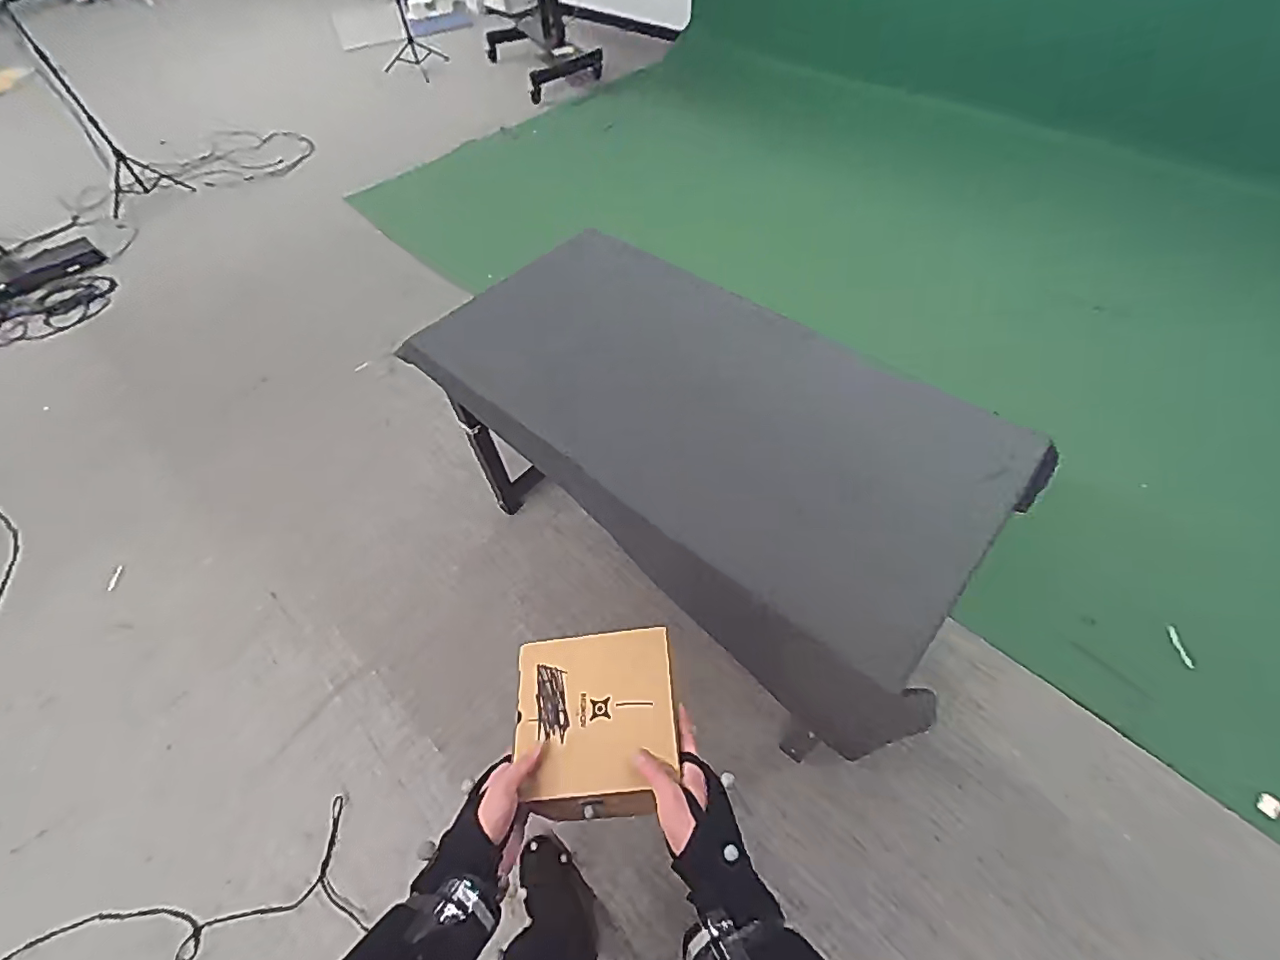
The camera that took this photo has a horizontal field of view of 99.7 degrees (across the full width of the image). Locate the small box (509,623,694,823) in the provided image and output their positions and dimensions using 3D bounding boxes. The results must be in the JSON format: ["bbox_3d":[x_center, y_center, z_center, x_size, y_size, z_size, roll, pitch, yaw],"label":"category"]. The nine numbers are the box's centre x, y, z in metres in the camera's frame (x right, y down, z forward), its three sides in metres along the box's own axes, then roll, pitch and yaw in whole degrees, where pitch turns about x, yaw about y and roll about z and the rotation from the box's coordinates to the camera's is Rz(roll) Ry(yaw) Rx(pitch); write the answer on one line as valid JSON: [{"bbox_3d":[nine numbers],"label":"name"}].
[{"bbox_3d":[-0.037,0.284,0.624,0.179,0.176,0.168,-7,51,2],"label":"small box"}]
